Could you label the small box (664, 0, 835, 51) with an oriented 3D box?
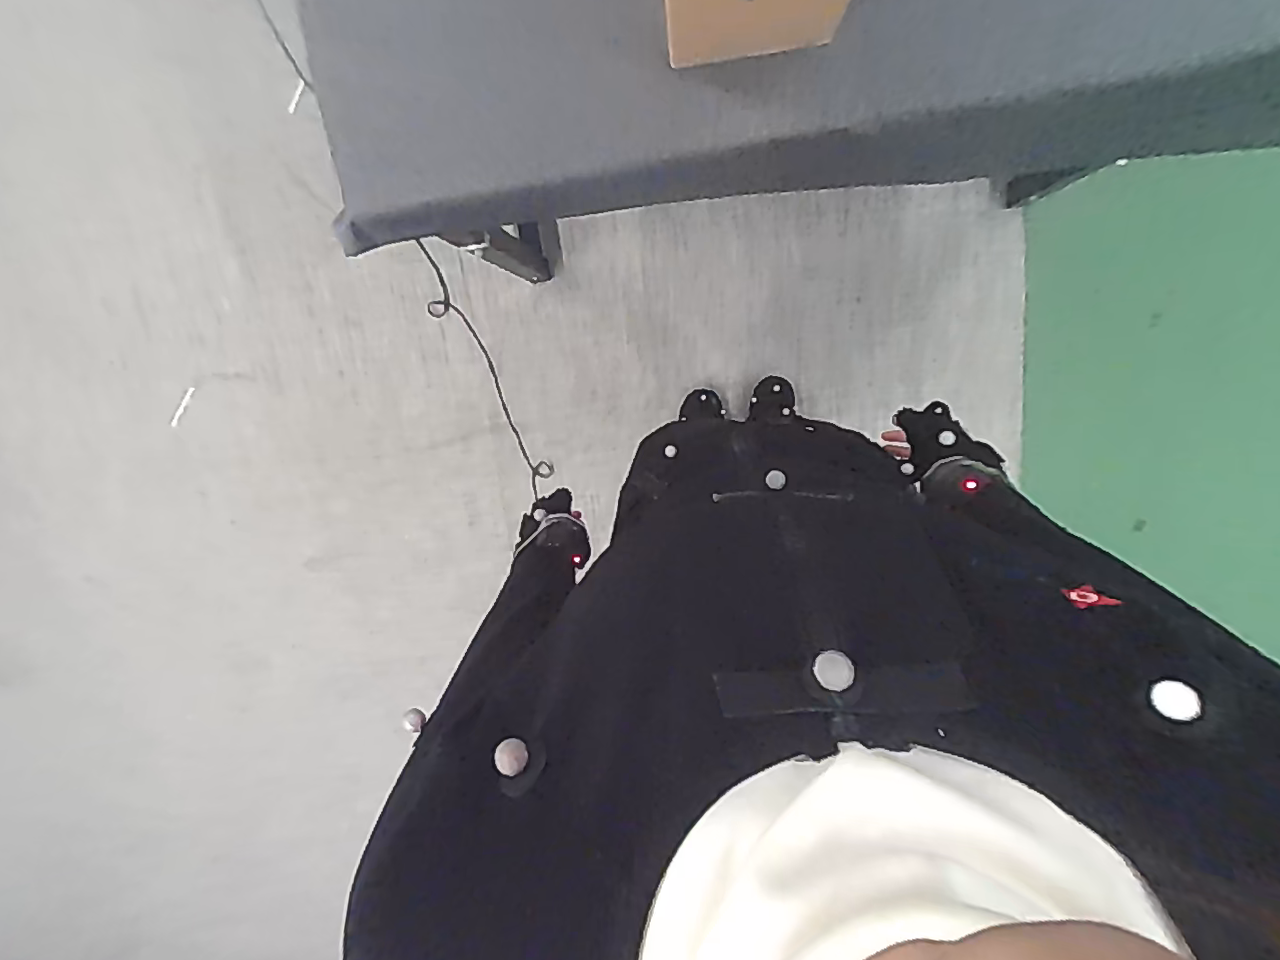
[{"bbox_3d":[0.102,-0.533,0.492,0.179,0.176,0.168,-4,102,6],"label":"small box"}]
